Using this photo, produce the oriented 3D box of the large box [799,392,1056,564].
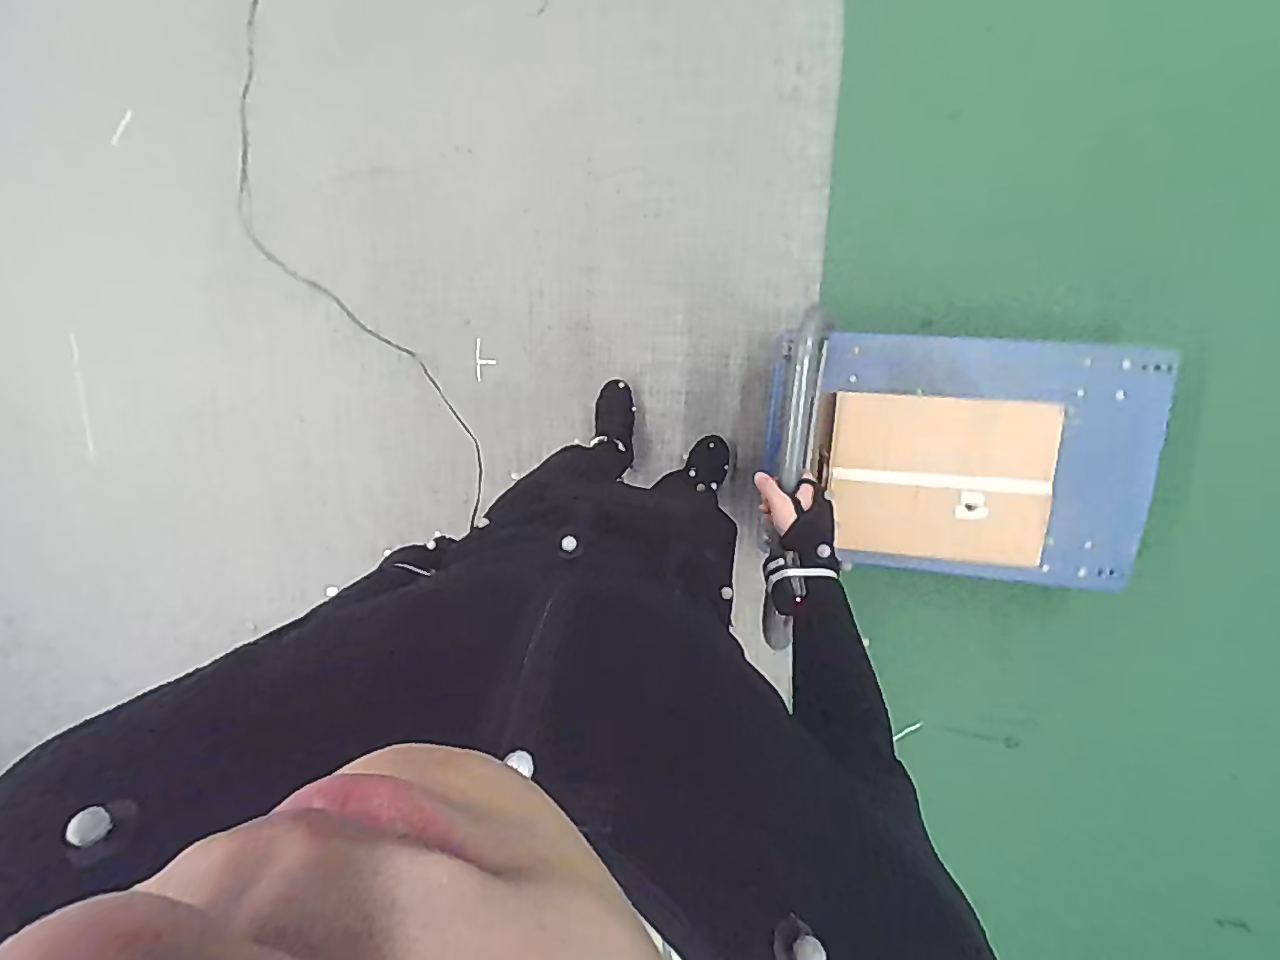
[{"bbox_3d":[0.586,-0.024,1.192,0.408,0.320,0.320,6,100,8],"label":"large box"}]
